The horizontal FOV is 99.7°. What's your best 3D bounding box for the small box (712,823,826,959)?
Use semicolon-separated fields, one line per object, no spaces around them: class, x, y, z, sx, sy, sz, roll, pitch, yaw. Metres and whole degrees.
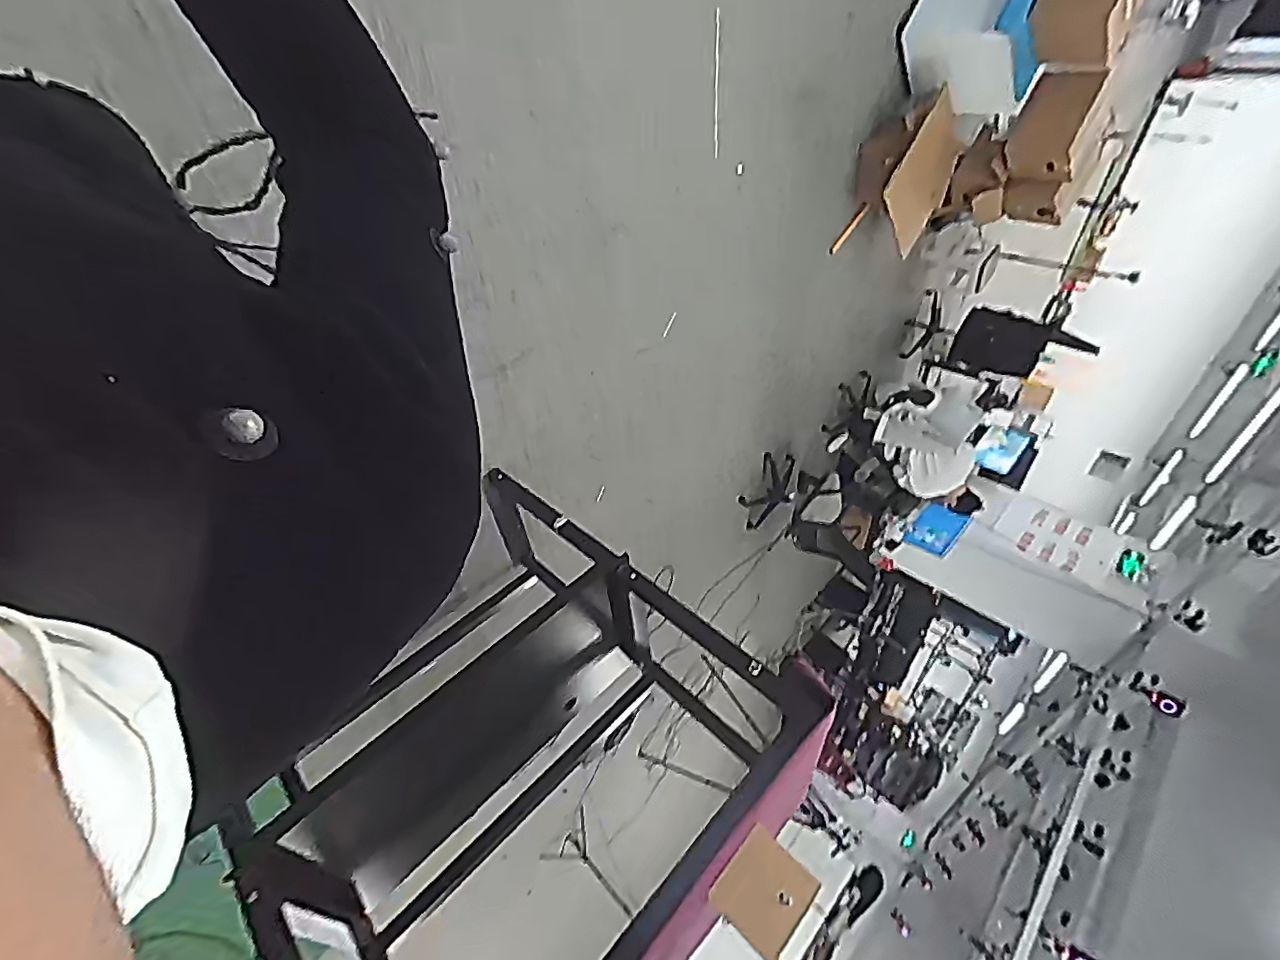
small box;0.277;0.896;1.180;0.179;0.176;0.168;-39;142;-26
